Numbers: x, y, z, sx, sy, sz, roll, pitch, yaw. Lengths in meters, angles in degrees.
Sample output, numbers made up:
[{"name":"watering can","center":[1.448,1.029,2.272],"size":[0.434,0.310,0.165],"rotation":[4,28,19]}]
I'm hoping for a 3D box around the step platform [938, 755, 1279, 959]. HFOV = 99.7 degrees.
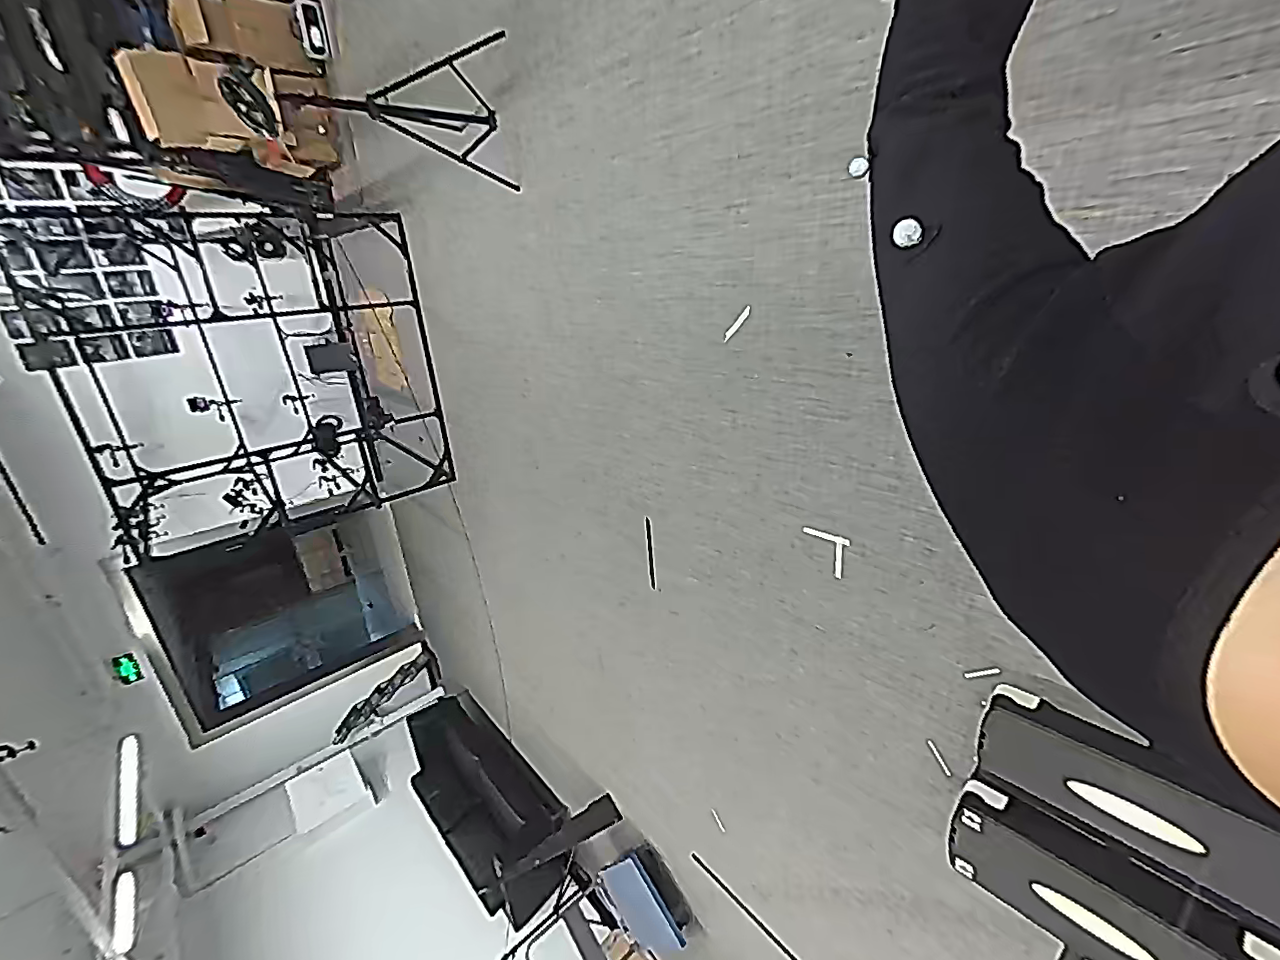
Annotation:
[{"name":"step platform","center":[1.172,1.060,1.424],"size":[0.684,0.204,0.286],"rotation":[18,121,48]}]
